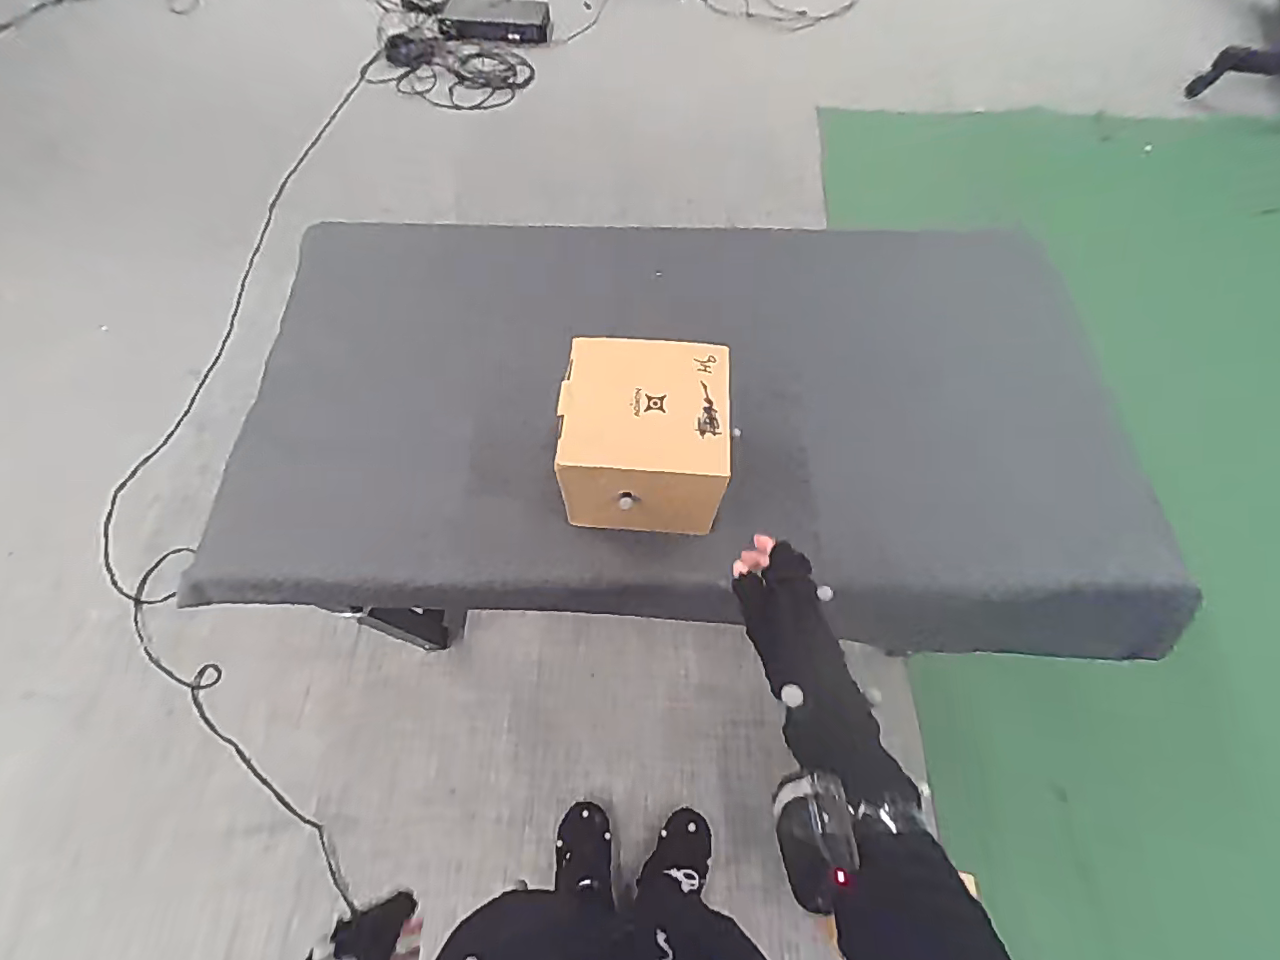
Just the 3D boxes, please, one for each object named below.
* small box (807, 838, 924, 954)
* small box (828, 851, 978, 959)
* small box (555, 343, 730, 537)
[{"bbox_3d":[0.436,0.812,1.046,0.179,0.176,0.168,8,63,5],"label":"small box"},{"bbox_3d":[0.427,0.737,0.899,0.179,0.176,0.168,8,63,3],"label":"small box"},{"bbox_3d":[0.008,-0.040,0.642,0.179,0.176,0.168,4,64,2],"label":"small box"}]
